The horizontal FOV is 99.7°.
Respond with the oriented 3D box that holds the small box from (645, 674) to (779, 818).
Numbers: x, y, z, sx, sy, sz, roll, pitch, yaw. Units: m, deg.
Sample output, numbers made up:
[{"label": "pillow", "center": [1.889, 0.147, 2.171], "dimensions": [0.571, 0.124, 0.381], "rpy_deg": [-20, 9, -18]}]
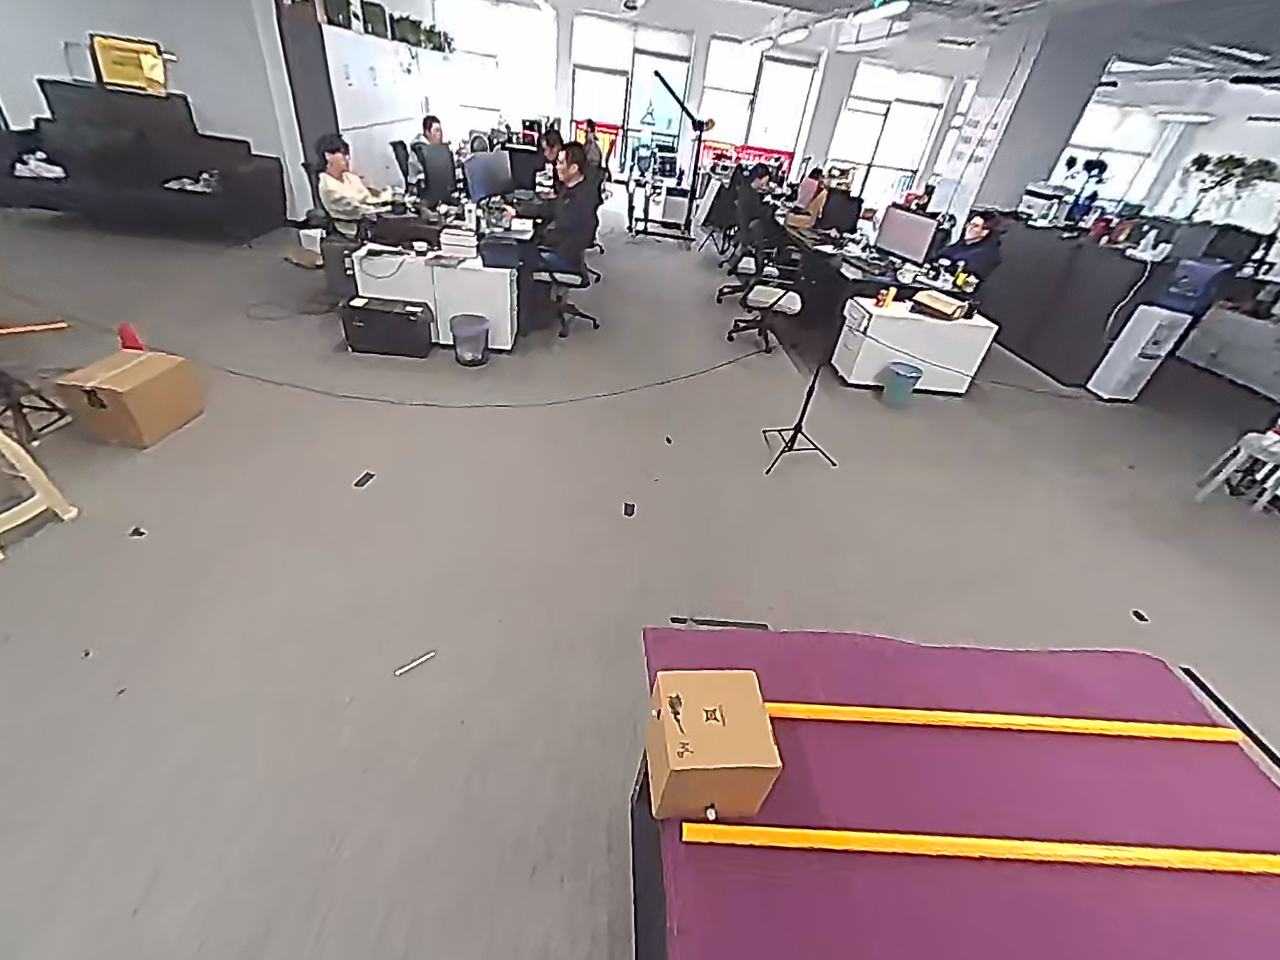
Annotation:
[{"label": "small box", "center": [0.111, 0.452, 0.919], "dimensions": [0.179, 0.176, 0.168], "rpy_deg": [4, 36, -8]}]
